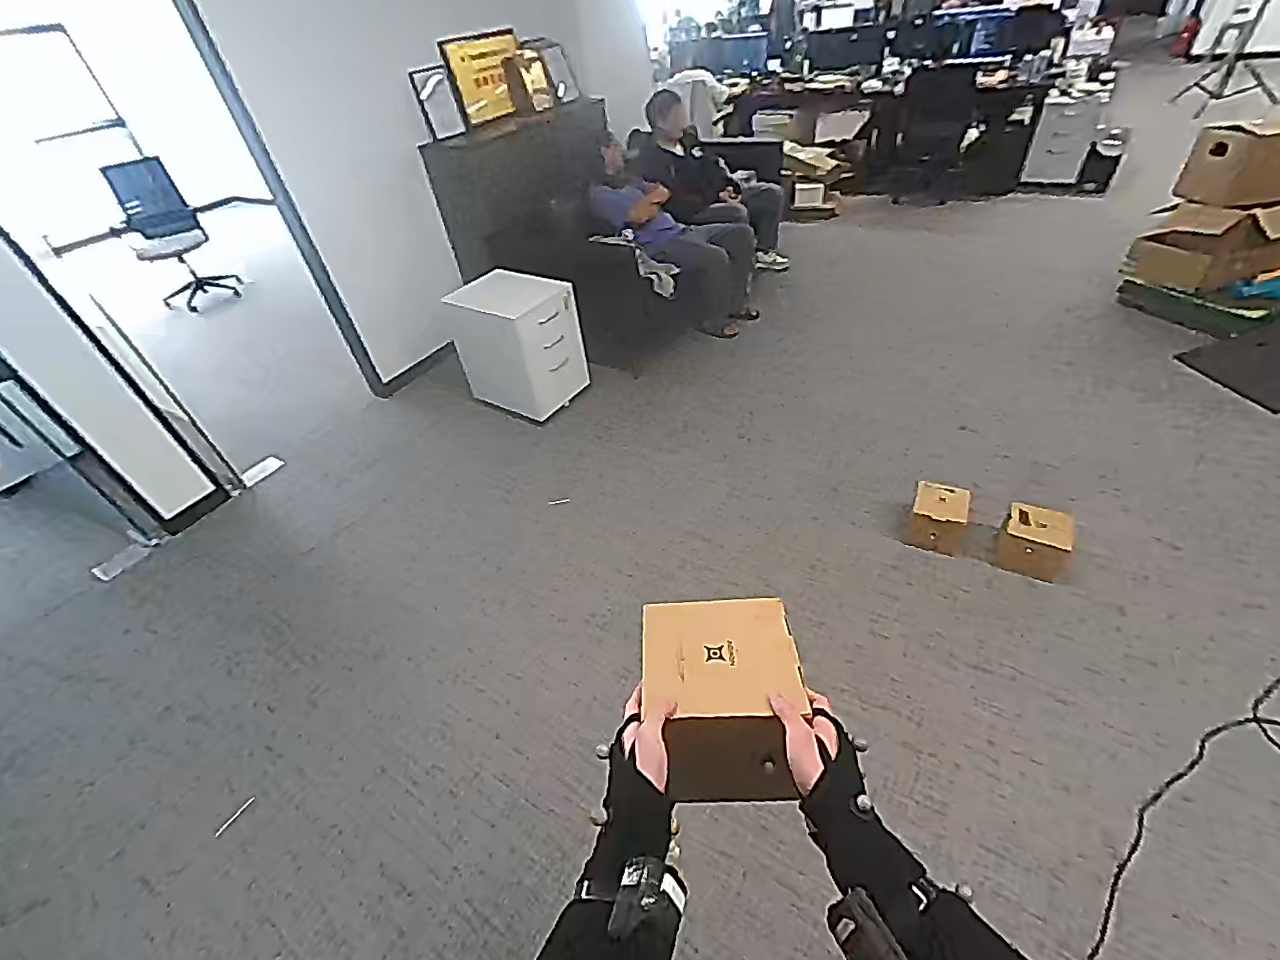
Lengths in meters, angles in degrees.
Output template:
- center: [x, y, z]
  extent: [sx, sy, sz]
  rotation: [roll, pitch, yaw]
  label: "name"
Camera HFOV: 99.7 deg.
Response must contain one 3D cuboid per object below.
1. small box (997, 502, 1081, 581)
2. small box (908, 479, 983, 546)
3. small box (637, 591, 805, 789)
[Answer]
- center: [1.318, 0.207, 1.796]
  extent: [0.179, 0.176, 0.168]
  rotation: [21, 52, 30]
  label: "small box"
- center: [1.077, 0.121, 1.927]
  extent: [0.179, 0.176, 0.168]
  rotation: [-7, 40, 4]
  label: "small box"
- center: [0.095, 0.257, 0.668]
  extent: [0.179, 0.176, 0.168]
  rotation: [-4, 32, 6]
  label: "small box"
